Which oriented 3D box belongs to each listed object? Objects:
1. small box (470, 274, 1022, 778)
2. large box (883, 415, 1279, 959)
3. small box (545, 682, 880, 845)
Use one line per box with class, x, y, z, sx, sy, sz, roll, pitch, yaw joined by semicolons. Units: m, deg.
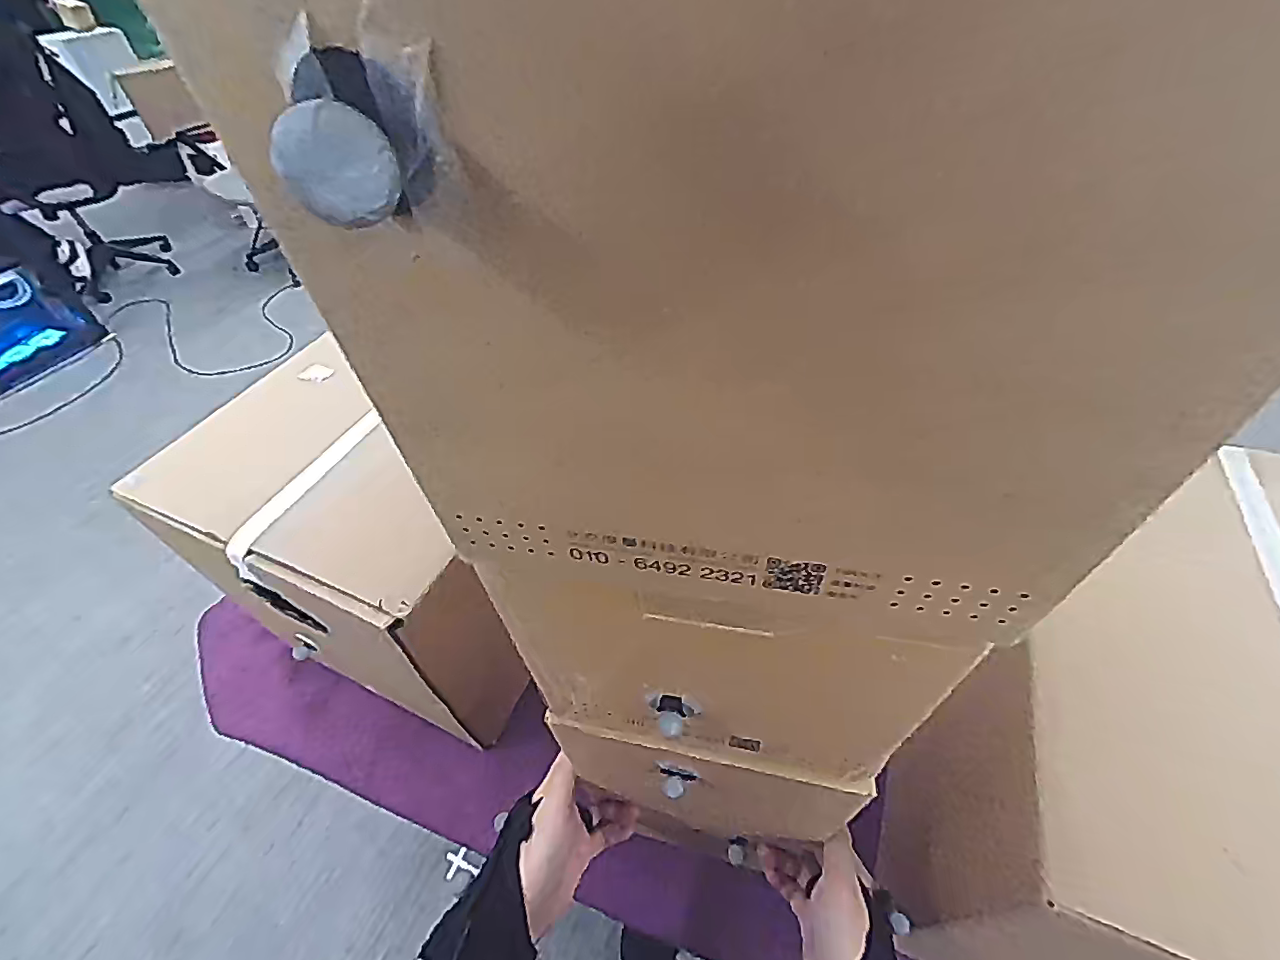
small box;0.045;0.020;0.271;0.168;0.176;0.179;6;50;11
large box;0.417;0.213;0.450;0.320;0.320;0.408;16;49;16
small box;0.055;0.136;0.385;0.179;0.176;0.168;7;49;11
